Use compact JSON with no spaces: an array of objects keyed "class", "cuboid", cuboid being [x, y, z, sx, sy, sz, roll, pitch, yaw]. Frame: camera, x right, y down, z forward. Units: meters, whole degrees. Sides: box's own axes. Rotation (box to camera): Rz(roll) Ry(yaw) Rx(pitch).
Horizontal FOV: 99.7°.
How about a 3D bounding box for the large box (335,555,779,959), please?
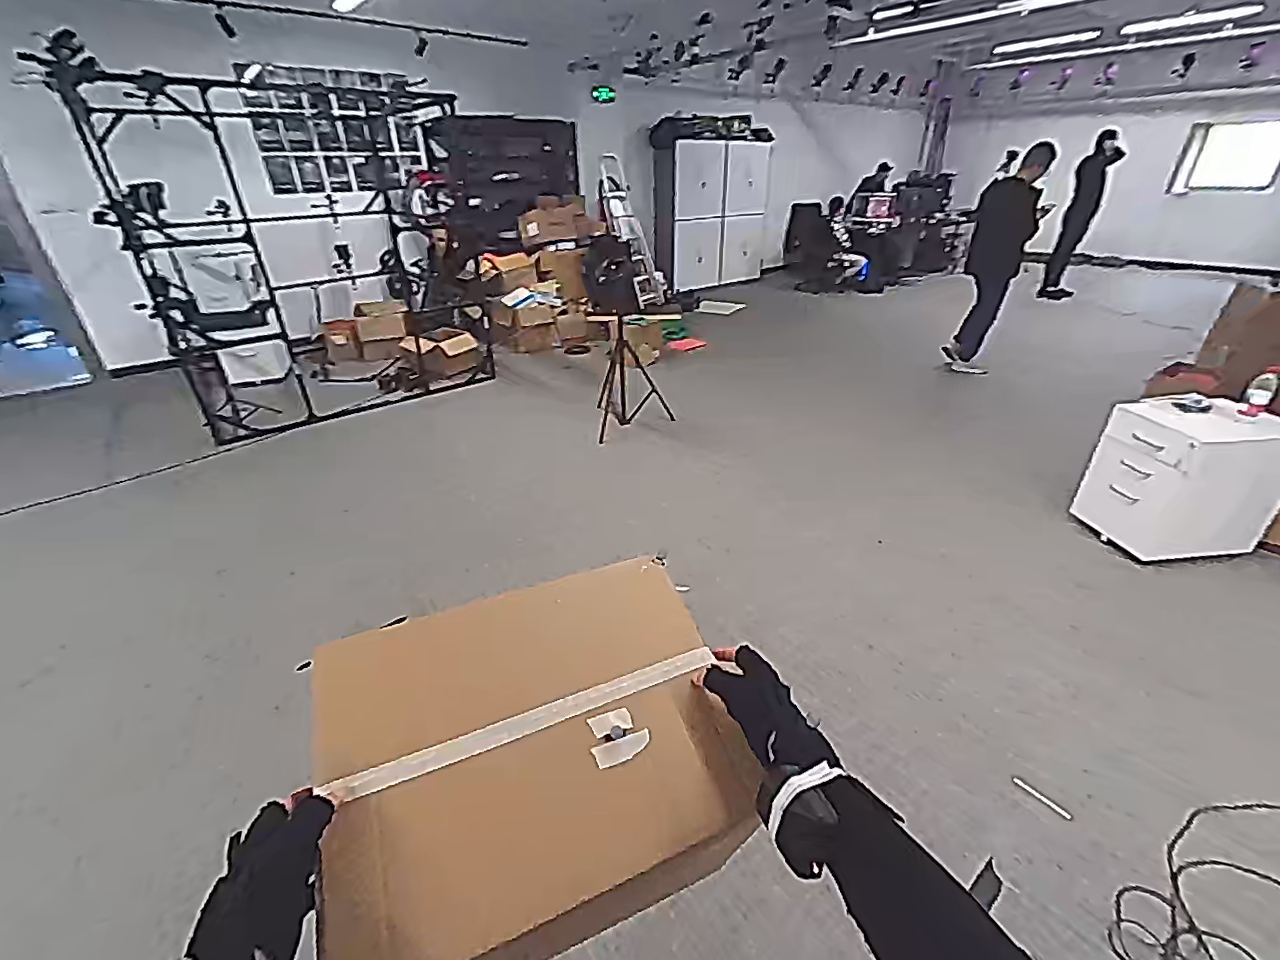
[{"class":"large box","cuboid":[-0.113,0.349,0.668,0.408,0.320,0.320,-12,48,-21]}]
